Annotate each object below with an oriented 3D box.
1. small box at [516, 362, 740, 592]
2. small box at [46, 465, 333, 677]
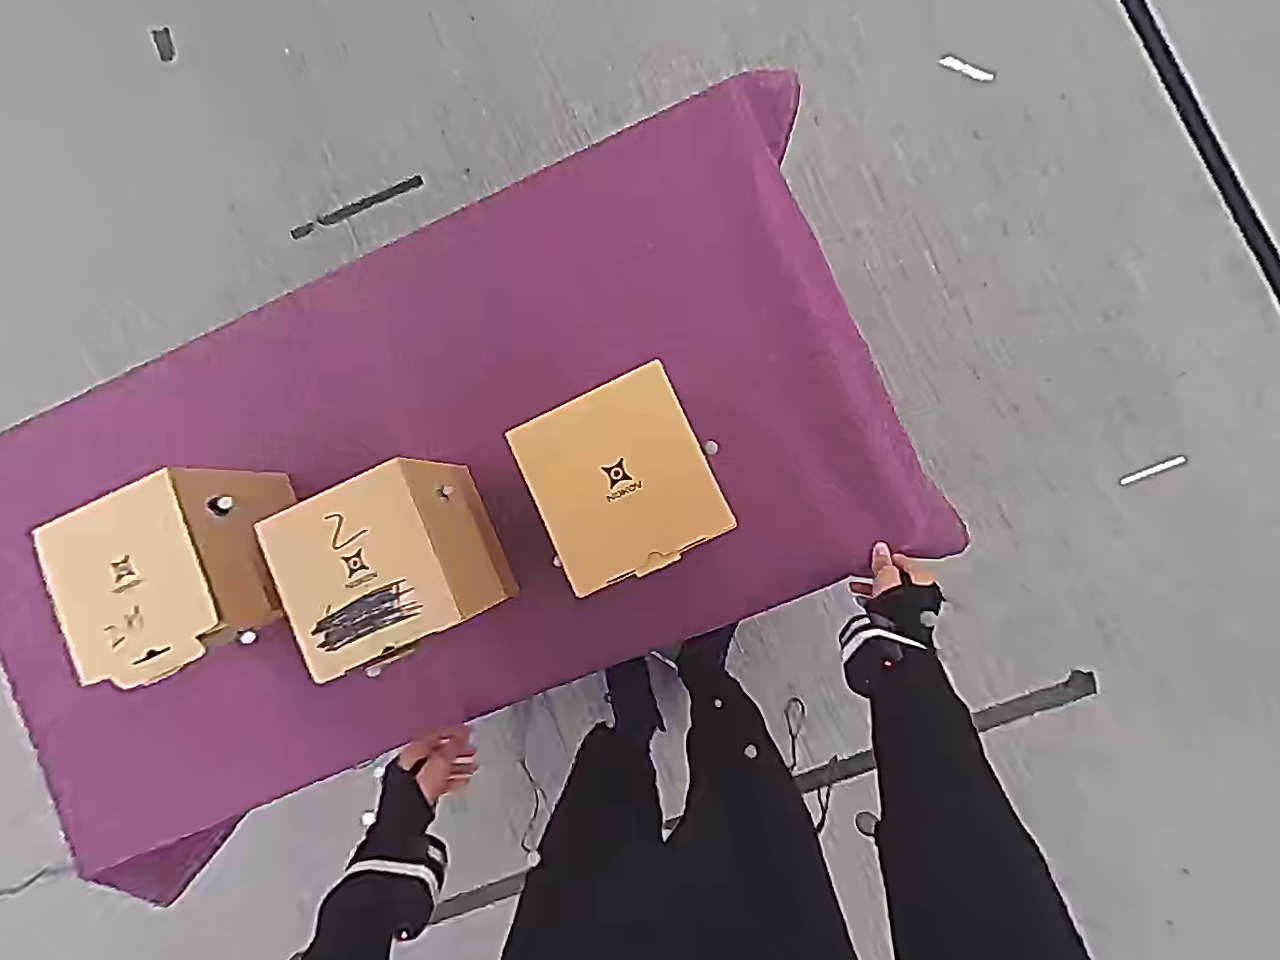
[{"bbox_3d":[-0.008,0.001,0.591,0.168,0.176,0.179,-25,86,4],"label":"small box"},{"bbox_3d":[-0.506,0.097,0.633,0.168,0.176,0.179,-23,86,4],"label":"small box"}]
